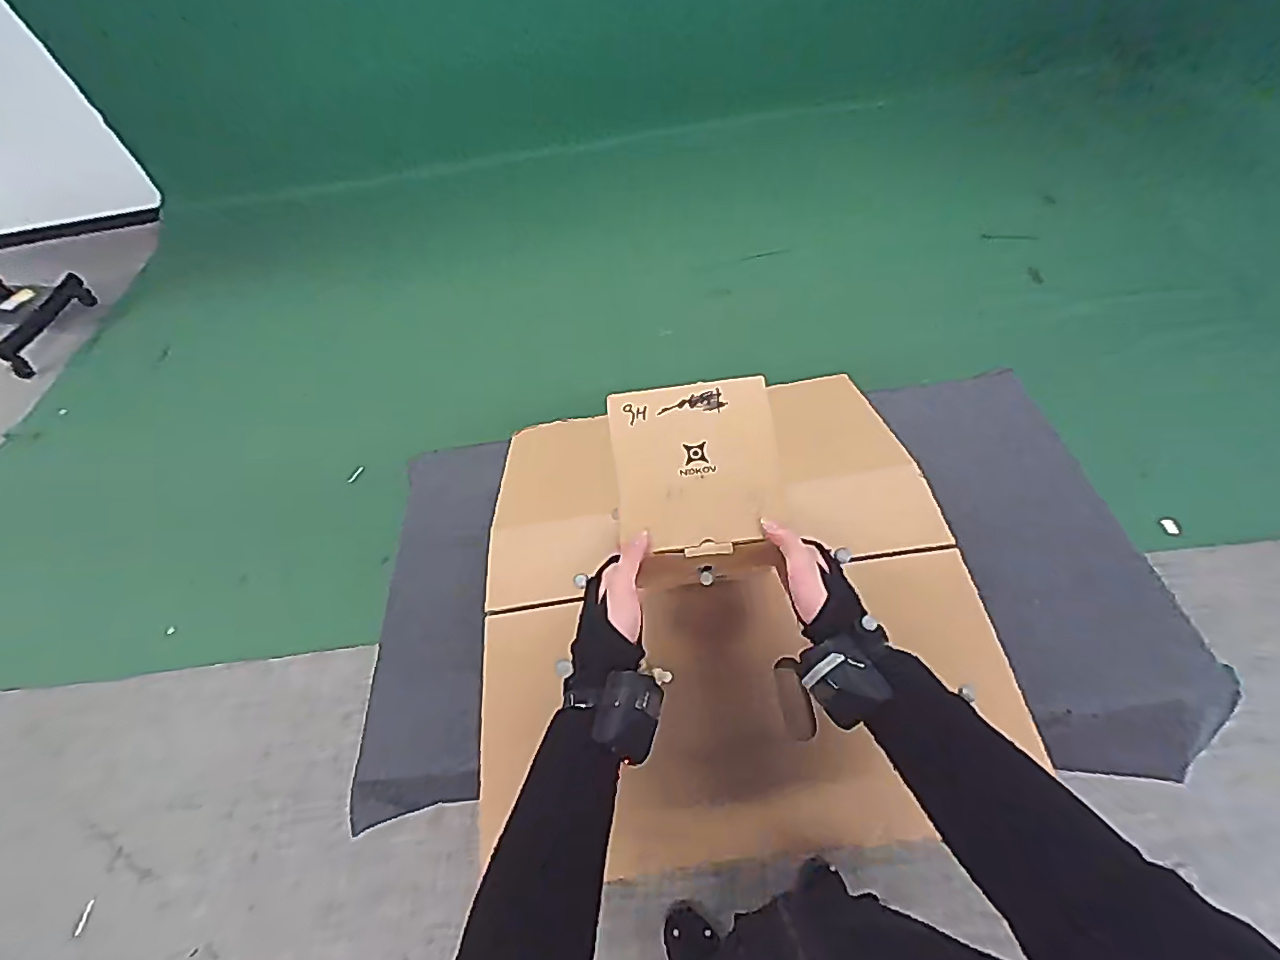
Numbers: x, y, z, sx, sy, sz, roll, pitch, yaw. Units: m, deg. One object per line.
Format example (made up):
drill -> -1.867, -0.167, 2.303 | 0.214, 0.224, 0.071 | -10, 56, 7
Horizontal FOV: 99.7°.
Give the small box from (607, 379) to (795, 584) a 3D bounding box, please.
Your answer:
small box -> 0.064, 0.014, 0.611 | 0.168, 0.176, 0.179 | -10, 68, 2
